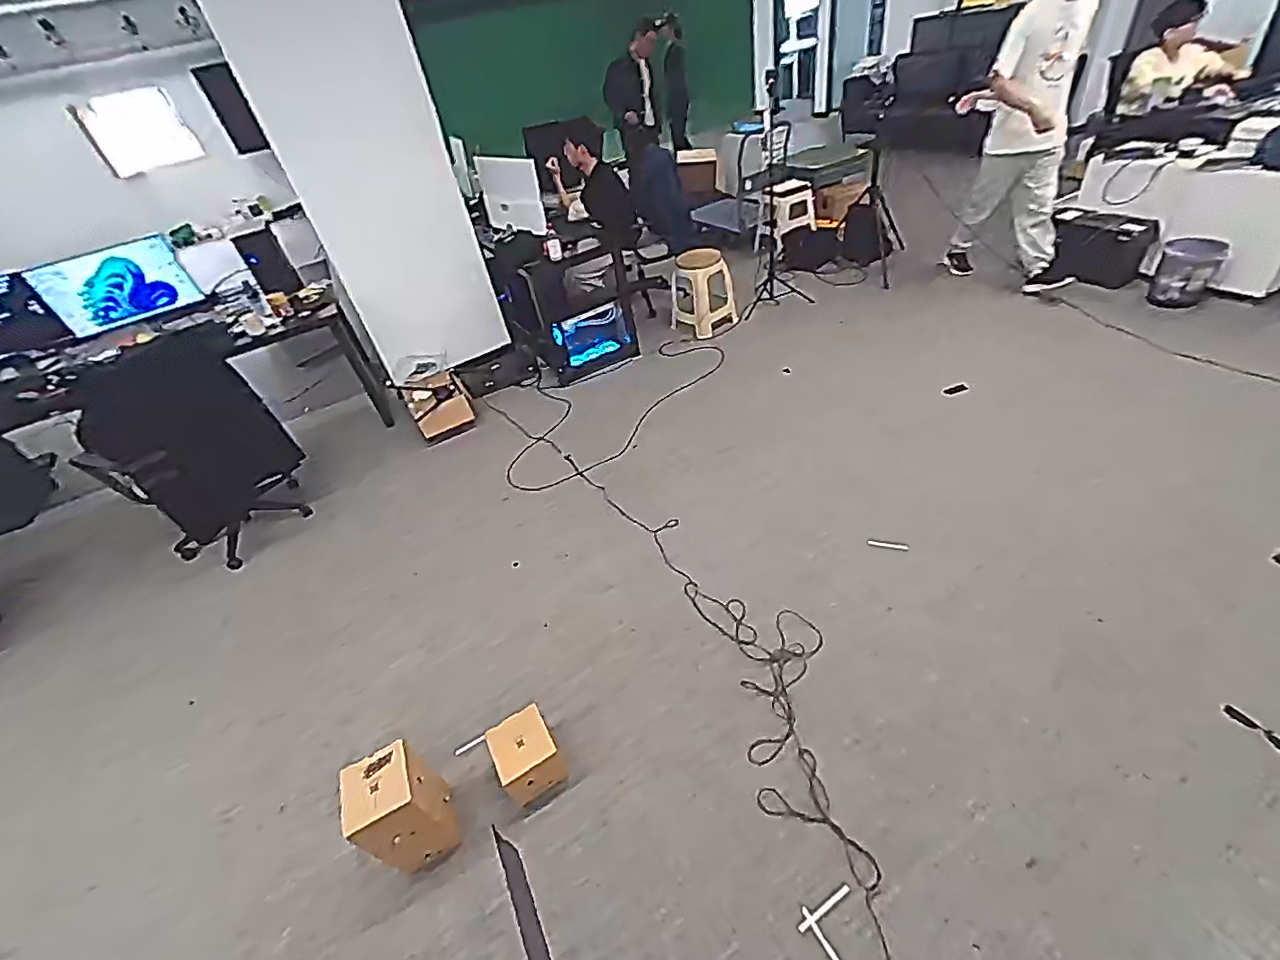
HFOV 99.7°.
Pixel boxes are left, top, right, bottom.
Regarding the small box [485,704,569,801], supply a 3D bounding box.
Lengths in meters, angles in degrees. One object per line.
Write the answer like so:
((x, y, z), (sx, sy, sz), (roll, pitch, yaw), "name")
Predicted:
((-0.329, 0.808, 1.589), (0.168, 0.176, 0.179), (-27, 42, -17), "small box")

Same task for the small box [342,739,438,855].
((-0.645, 0.819, 1.397), (0.168, 0.176, 0.179), (-25, 42, -14), "small box")
